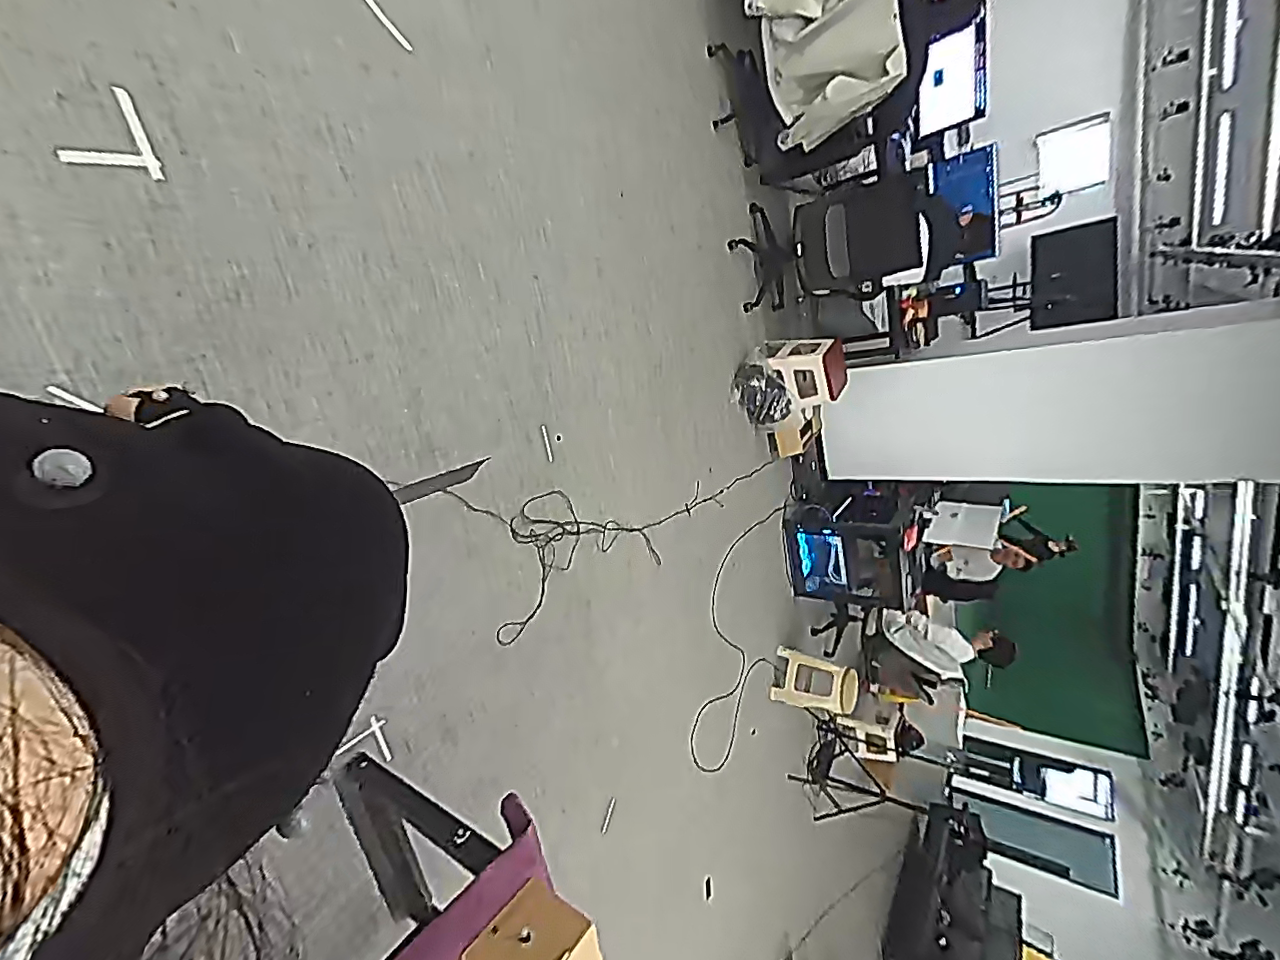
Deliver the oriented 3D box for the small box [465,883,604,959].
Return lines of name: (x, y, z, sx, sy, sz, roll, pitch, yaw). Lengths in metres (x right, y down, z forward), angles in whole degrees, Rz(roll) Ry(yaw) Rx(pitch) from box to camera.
small box: (-0.181, 0.858, 0.948, 0.168, 0.176, 0.179, -26, 110, -48)
